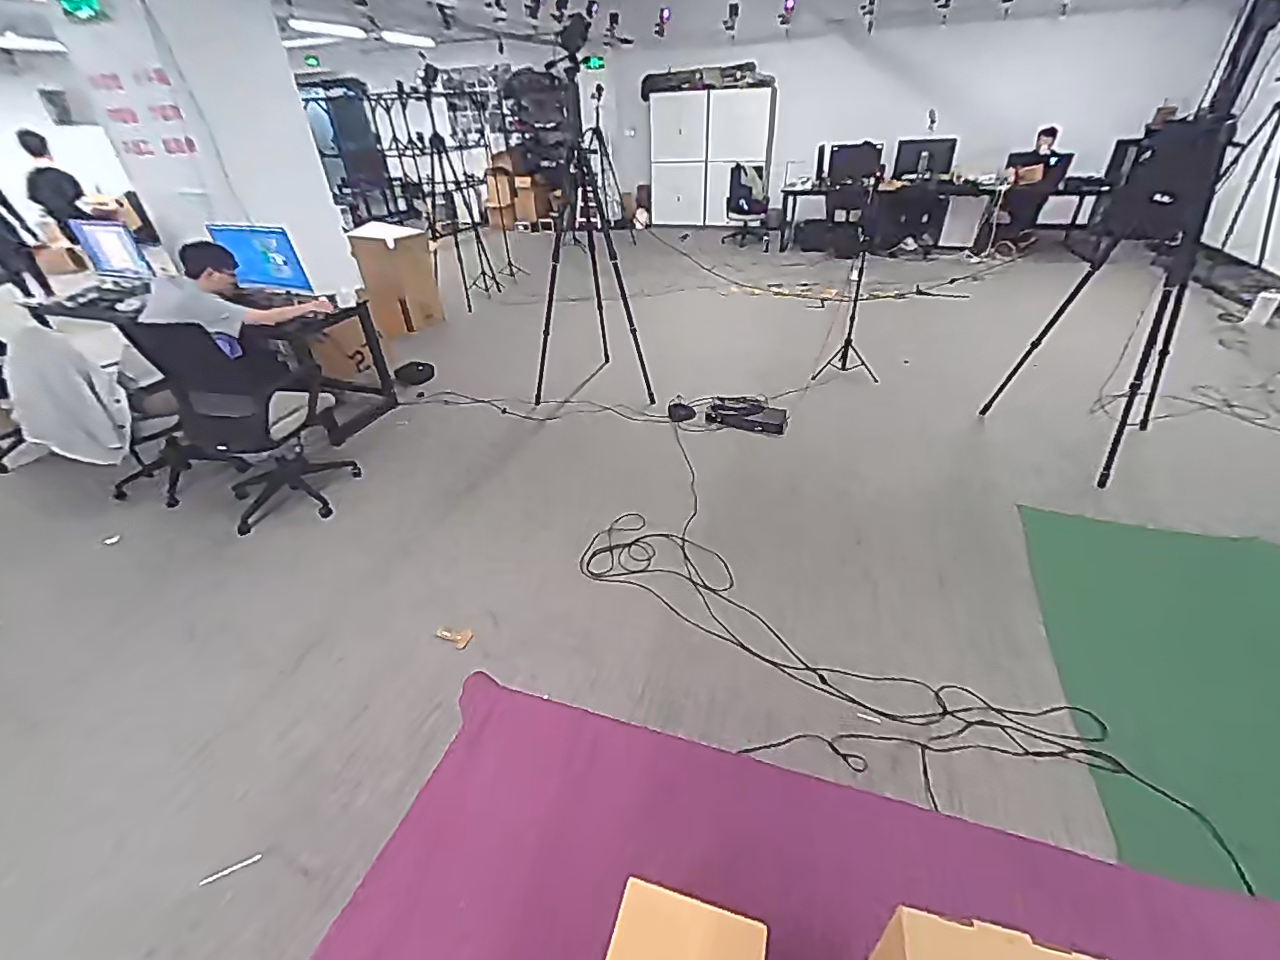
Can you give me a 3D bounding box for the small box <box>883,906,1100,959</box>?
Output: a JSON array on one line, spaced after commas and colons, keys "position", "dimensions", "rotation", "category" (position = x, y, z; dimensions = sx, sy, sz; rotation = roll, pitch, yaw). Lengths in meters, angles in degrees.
[{"position": [0.288, 0.494, 0.428], "dimensions": [0.168, 0.176, 0.179], "rotation": [6, 34, 14], "category": "small box"}]
